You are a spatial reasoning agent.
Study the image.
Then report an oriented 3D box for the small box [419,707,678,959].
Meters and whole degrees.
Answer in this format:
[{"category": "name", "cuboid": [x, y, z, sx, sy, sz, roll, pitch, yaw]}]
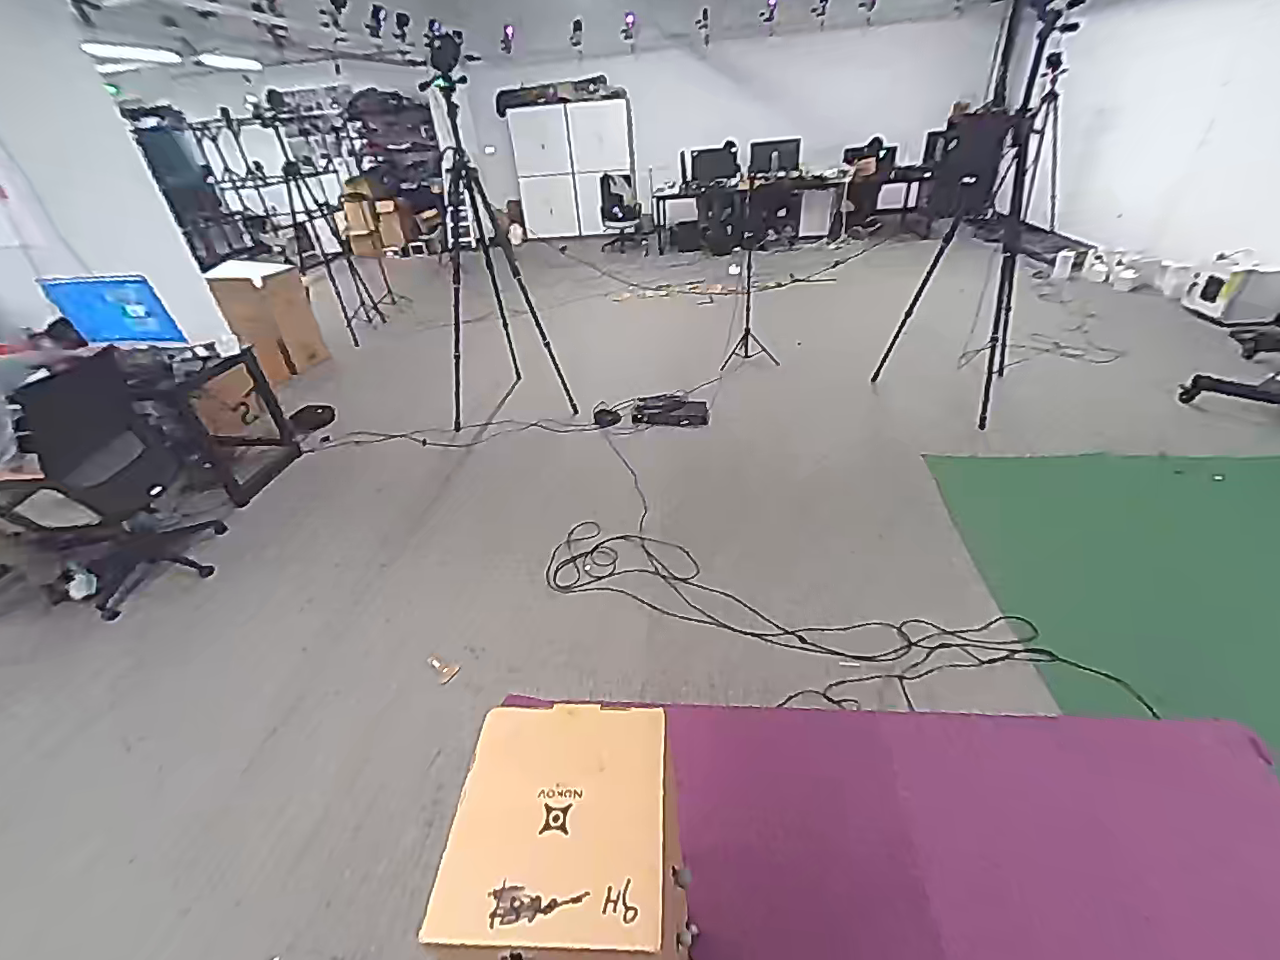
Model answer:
[{"category": "small box", "cuboid": [-0.056, 0.323, 0.465, 0.168, 0.176, 0.179, -3, 33, 6]}]
